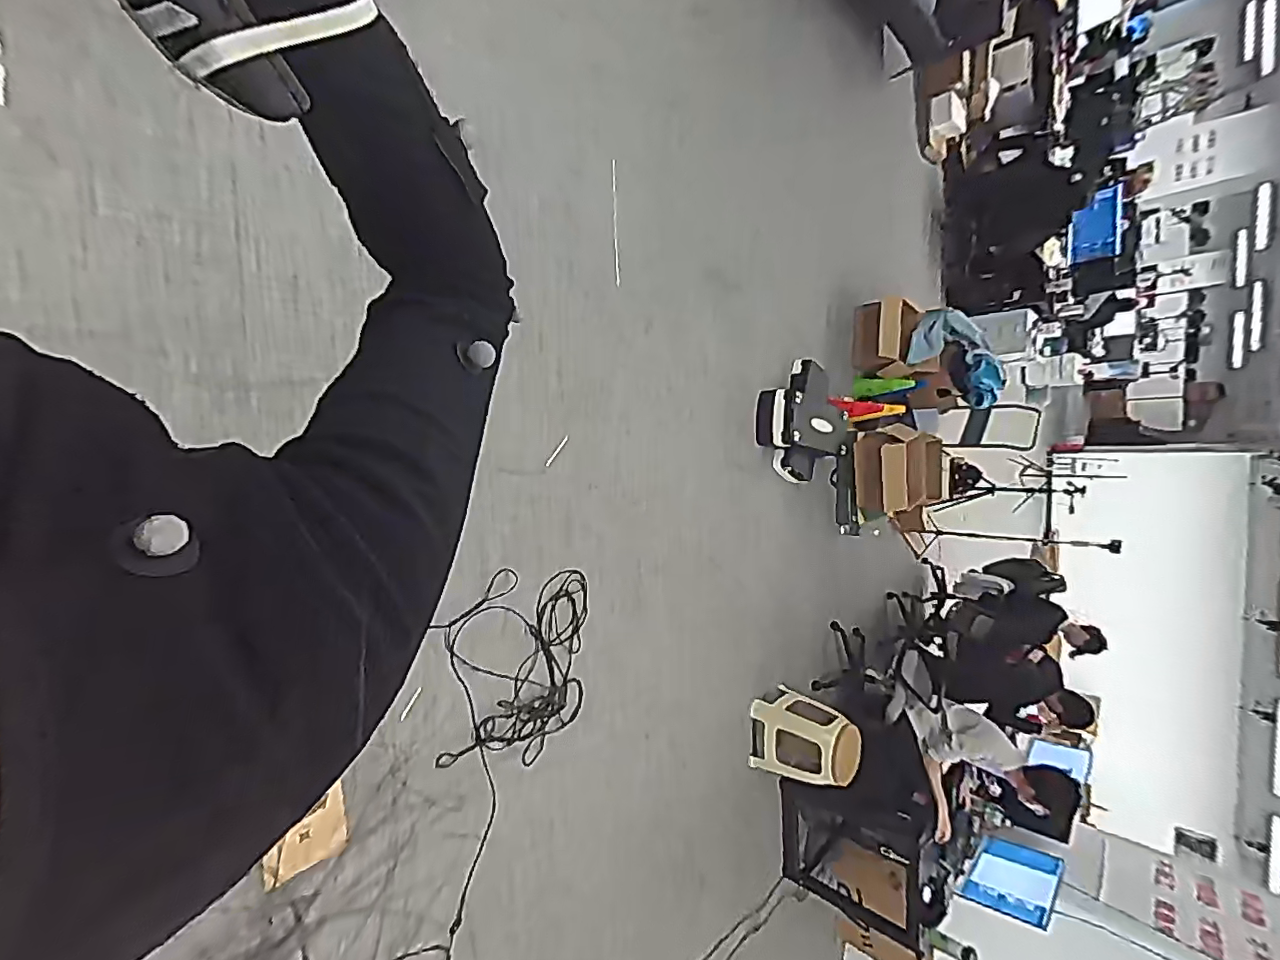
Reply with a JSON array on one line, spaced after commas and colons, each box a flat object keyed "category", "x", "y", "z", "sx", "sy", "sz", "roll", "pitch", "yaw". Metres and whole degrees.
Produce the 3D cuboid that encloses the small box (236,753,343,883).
[{"category": "small box", "x": -0.815, "y": 0.766, "z": 1.257, "sx": 0.168, "sy": 0.176, "sz": 0.179, "roll": -9, "pitch": 99, "yaw": -46}]
